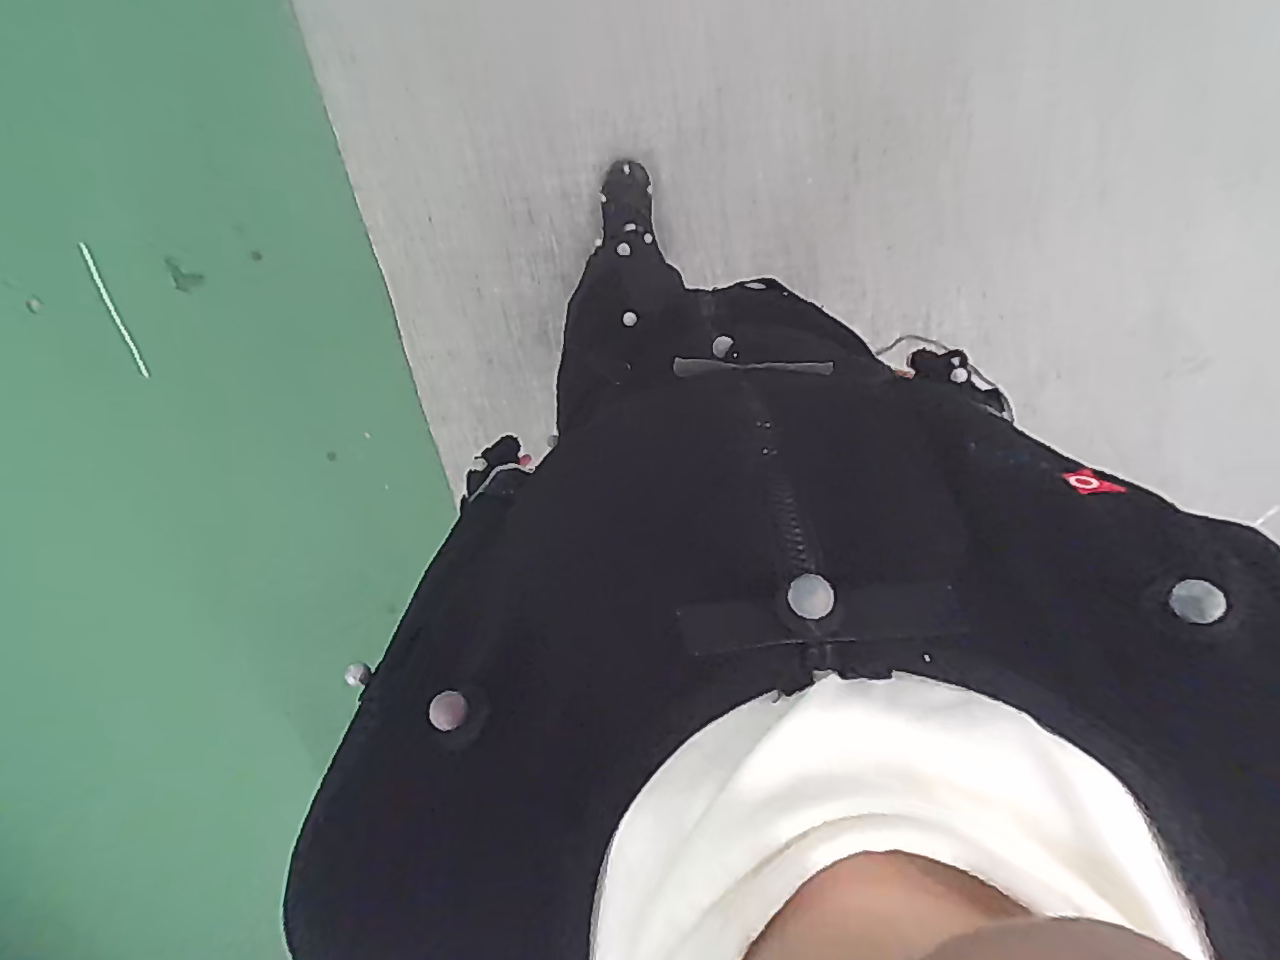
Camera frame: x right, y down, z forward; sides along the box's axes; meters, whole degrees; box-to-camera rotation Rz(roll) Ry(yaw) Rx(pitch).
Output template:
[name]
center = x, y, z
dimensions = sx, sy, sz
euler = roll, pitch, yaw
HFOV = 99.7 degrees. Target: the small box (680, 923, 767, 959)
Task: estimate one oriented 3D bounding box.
[small box]
center = 0.174, 1.003, 1.042
dimensions = 0.168, 0.176, 0.179
euler = -11, 113, 4
